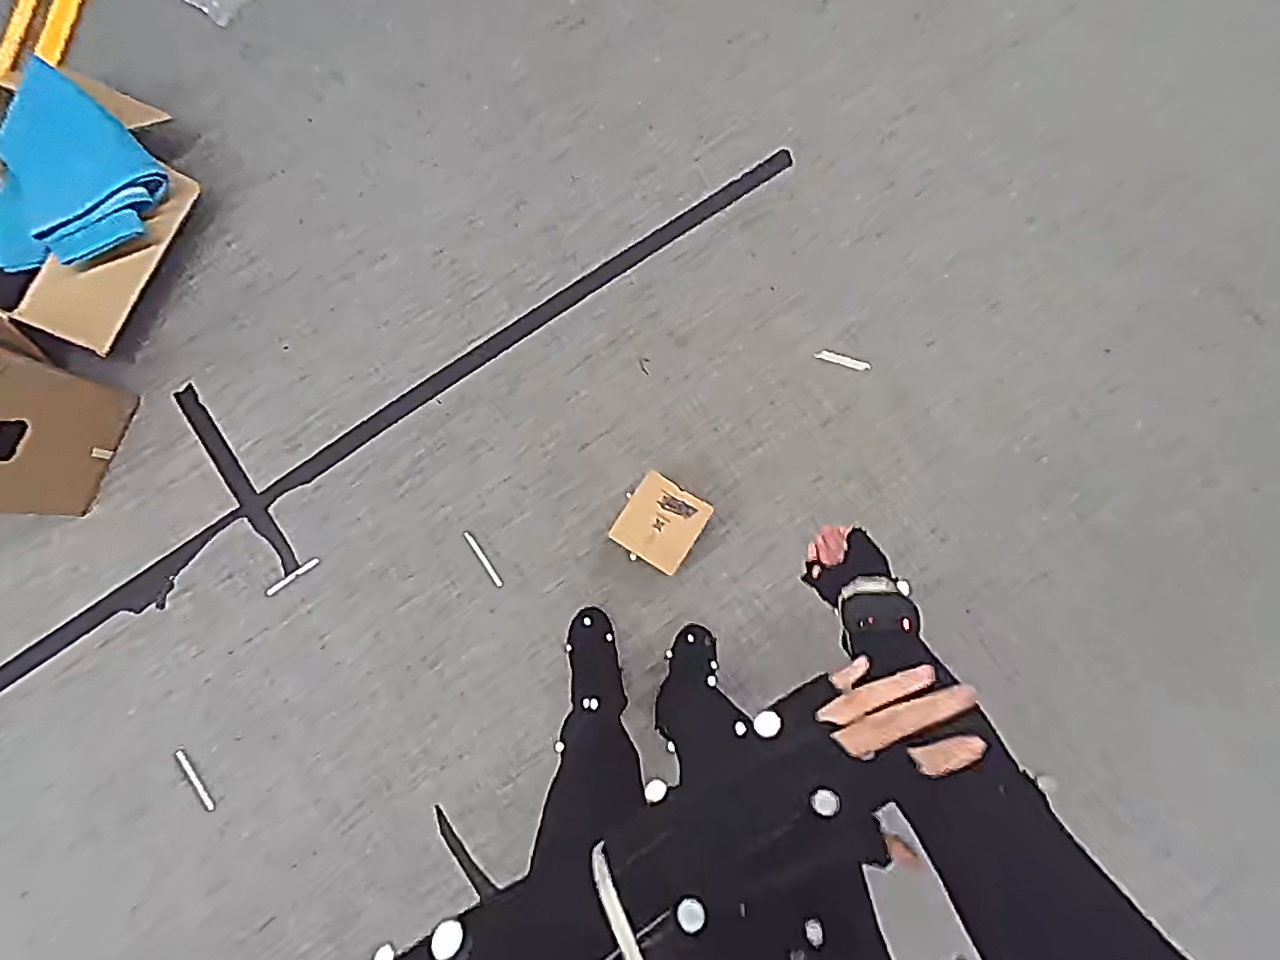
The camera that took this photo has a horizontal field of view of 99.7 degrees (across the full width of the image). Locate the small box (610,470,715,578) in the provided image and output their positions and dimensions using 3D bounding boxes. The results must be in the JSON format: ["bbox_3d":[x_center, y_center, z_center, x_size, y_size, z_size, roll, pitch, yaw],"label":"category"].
[{"bbox_3d":[0.045,0.099,1.224,0.168,0.176,0.179,33,85,2],"label":"small box"}]
